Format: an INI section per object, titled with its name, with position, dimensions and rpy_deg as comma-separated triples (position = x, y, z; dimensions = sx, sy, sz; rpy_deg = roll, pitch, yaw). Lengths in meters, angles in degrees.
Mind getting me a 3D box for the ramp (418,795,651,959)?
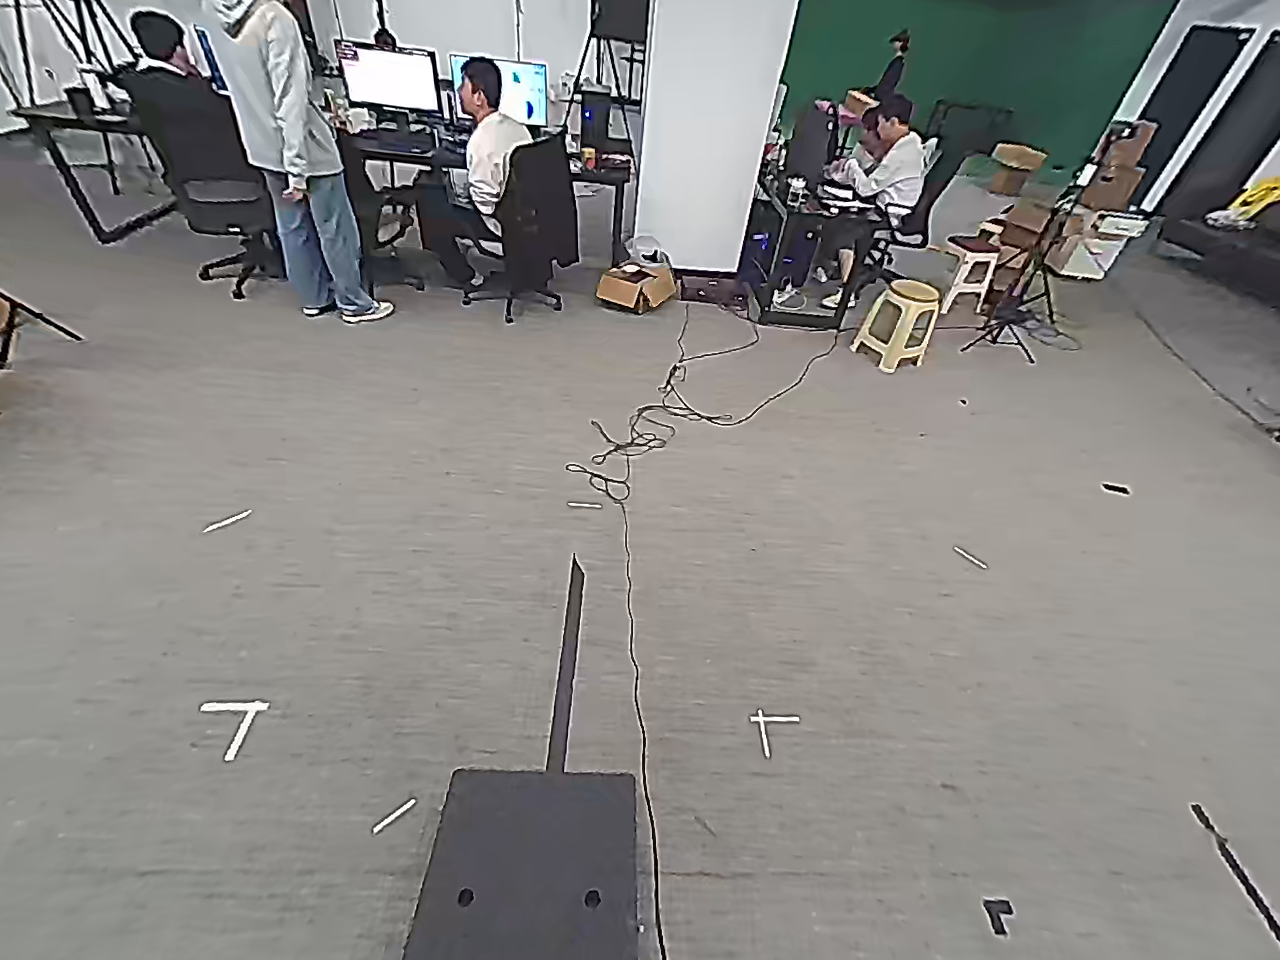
[ramp]
position = -0.217, 1.088, 1.008
dimensions = 0.509, 0.206, 0.991
rpy_deg = 1, 39, -4
